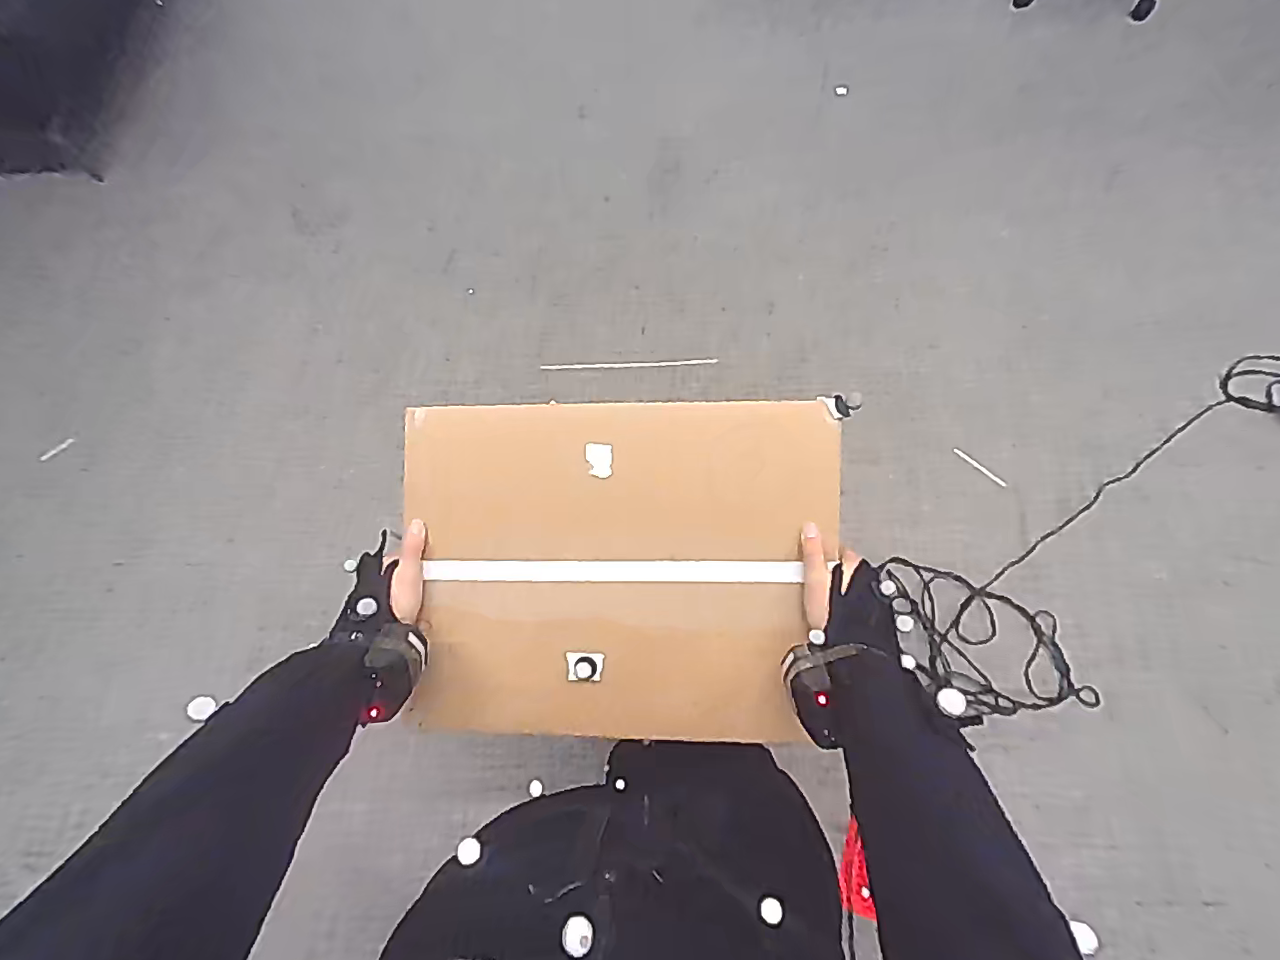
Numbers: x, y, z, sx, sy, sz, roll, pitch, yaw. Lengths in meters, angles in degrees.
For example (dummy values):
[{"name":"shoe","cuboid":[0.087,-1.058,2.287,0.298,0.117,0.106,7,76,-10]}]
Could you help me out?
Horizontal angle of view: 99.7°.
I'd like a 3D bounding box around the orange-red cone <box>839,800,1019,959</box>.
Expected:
[{"name":"orange-red cone","cuboid":[0.483,0.681,0.857,0.199,0.360,0.198,19,73,9]}]
